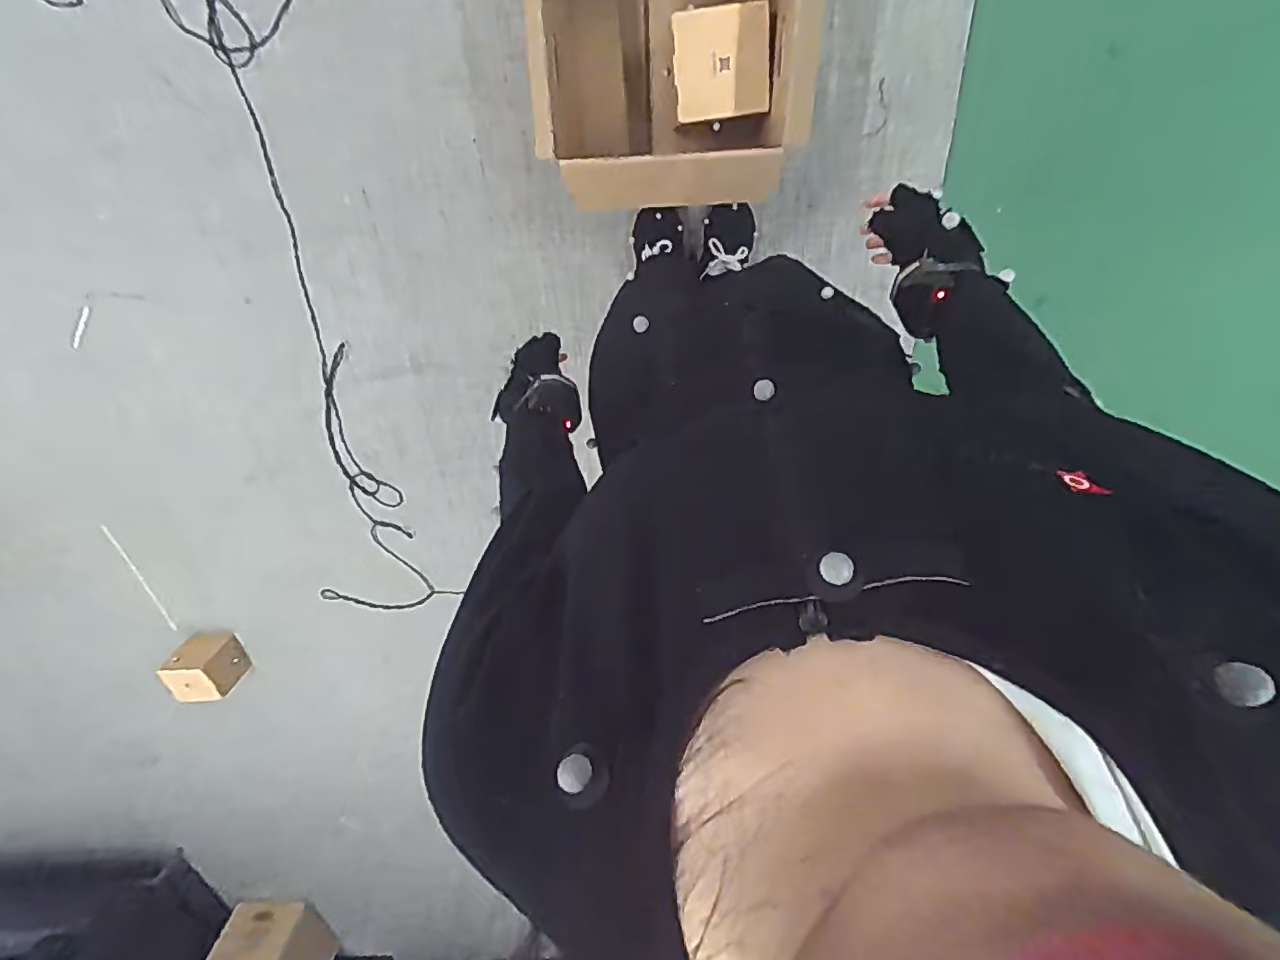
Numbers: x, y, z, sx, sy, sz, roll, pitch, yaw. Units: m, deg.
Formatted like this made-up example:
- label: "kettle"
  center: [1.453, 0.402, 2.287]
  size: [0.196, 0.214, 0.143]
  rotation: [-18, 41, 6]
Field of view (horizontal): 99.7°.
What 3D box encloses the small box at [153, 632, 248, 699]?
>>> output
- label: "small box"
  center: [-1.597, 0.675, 1.977]
  size: [0.179, 0.176, 0.168]
  rotation: [-4, 120, 4]
